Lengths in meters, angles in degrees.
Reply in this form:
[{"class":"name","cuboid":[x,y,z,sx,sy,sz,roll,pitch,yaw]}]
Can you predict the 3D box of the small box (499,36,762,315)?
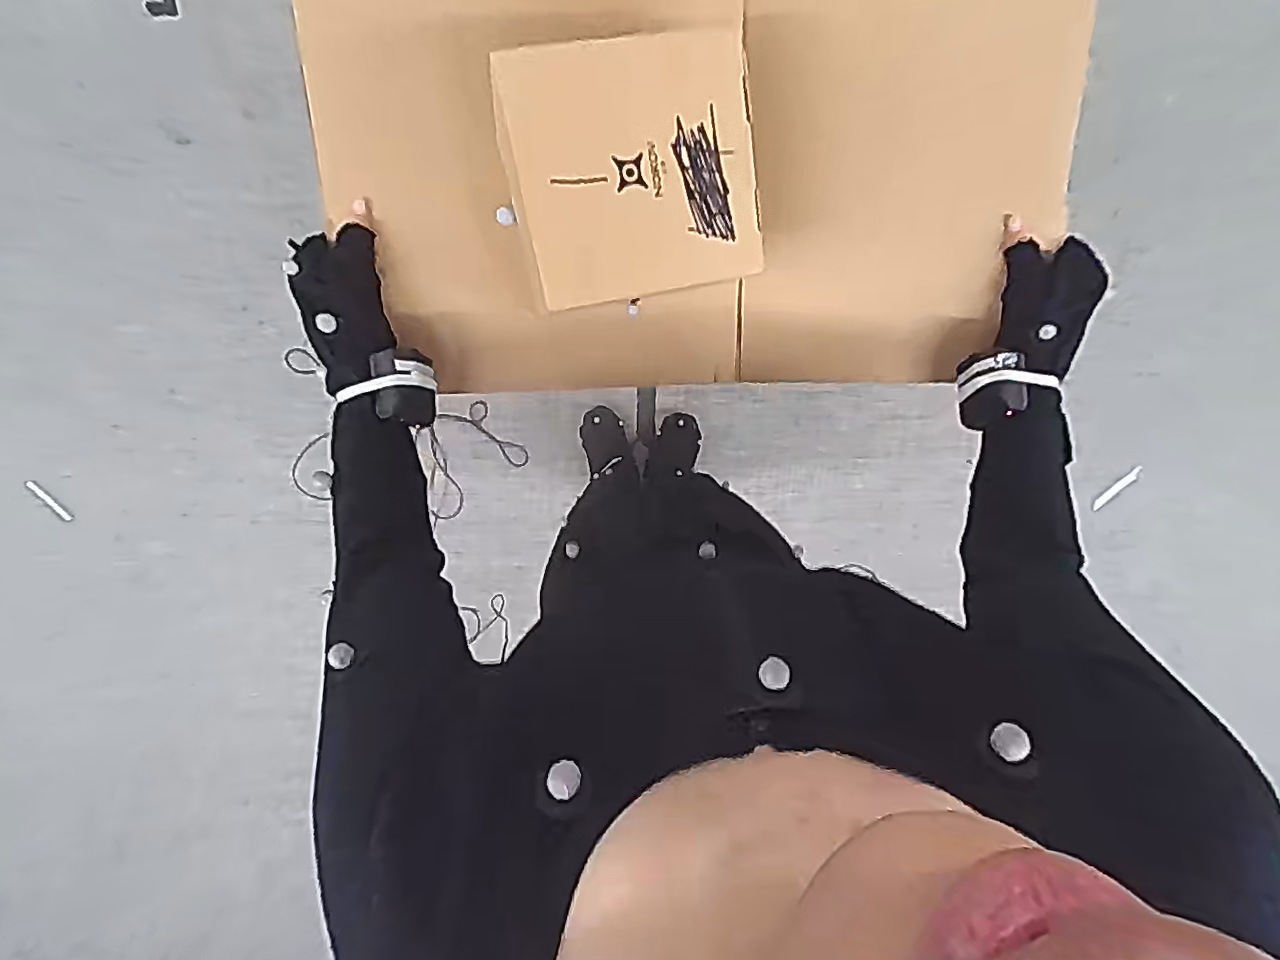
[{"class":"small box","cuboid":[-0.016,-0.240,0.466,0.179,0.176,0.168,-13,108,-9]}]
